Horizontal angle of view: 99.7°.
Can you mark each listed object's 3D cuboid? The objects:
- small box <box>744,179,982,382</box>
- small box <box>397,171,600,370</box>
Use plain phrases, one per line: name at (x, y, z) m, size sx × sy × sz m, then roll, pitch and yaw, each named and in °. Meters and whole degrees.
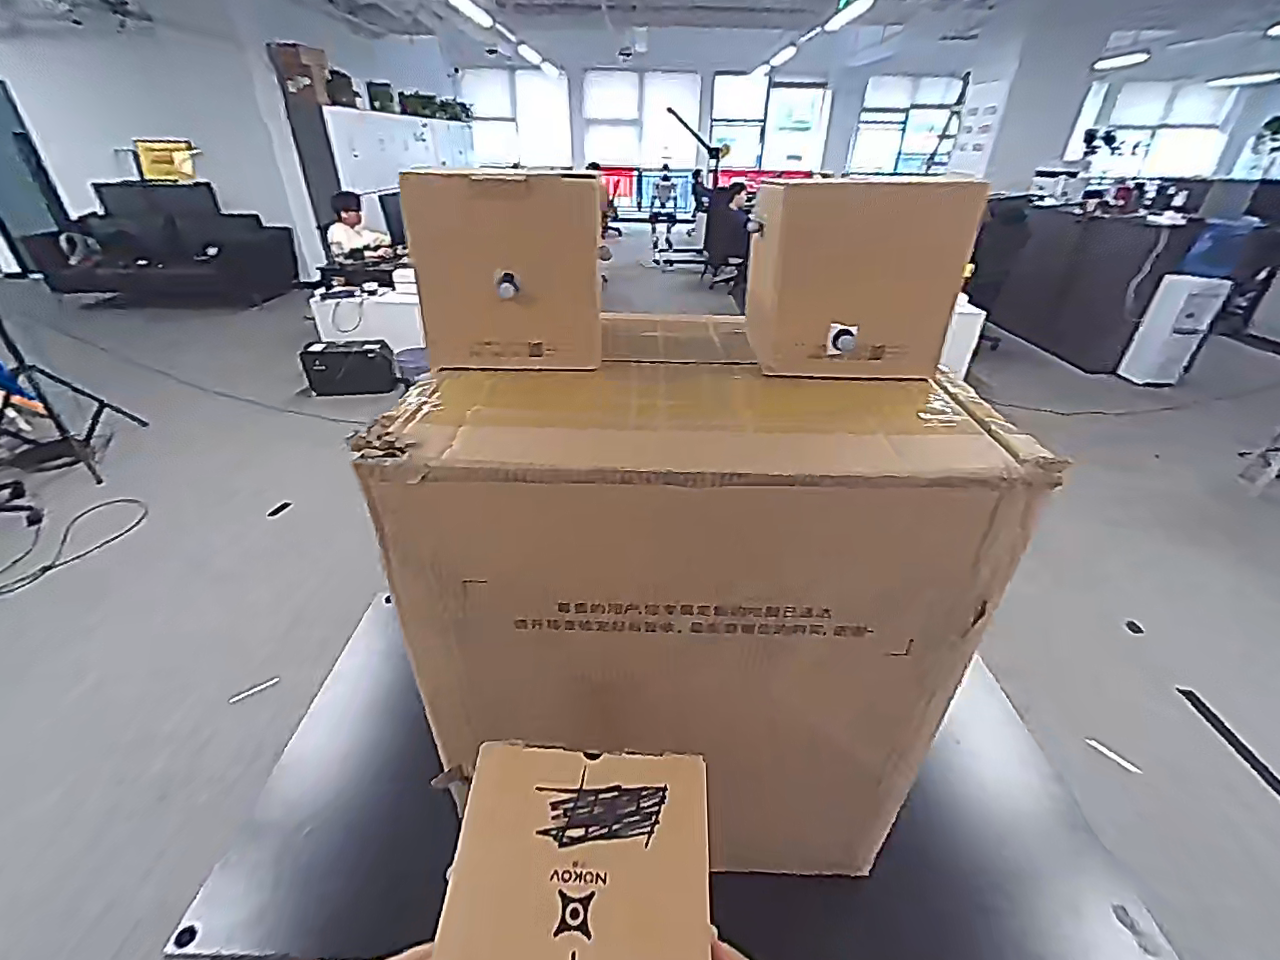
small box at (0.202, -0.209, 0.552) m, size 0.168 × 0.176 × 0.179 m, roll 0°, pitch 31°, yaw 3°
small box at (-0.125, -0.219, 0.559) m, size 0.168 × 0.176 × 0.179 m, roll -1°, pitch 31°, yaw -4°
